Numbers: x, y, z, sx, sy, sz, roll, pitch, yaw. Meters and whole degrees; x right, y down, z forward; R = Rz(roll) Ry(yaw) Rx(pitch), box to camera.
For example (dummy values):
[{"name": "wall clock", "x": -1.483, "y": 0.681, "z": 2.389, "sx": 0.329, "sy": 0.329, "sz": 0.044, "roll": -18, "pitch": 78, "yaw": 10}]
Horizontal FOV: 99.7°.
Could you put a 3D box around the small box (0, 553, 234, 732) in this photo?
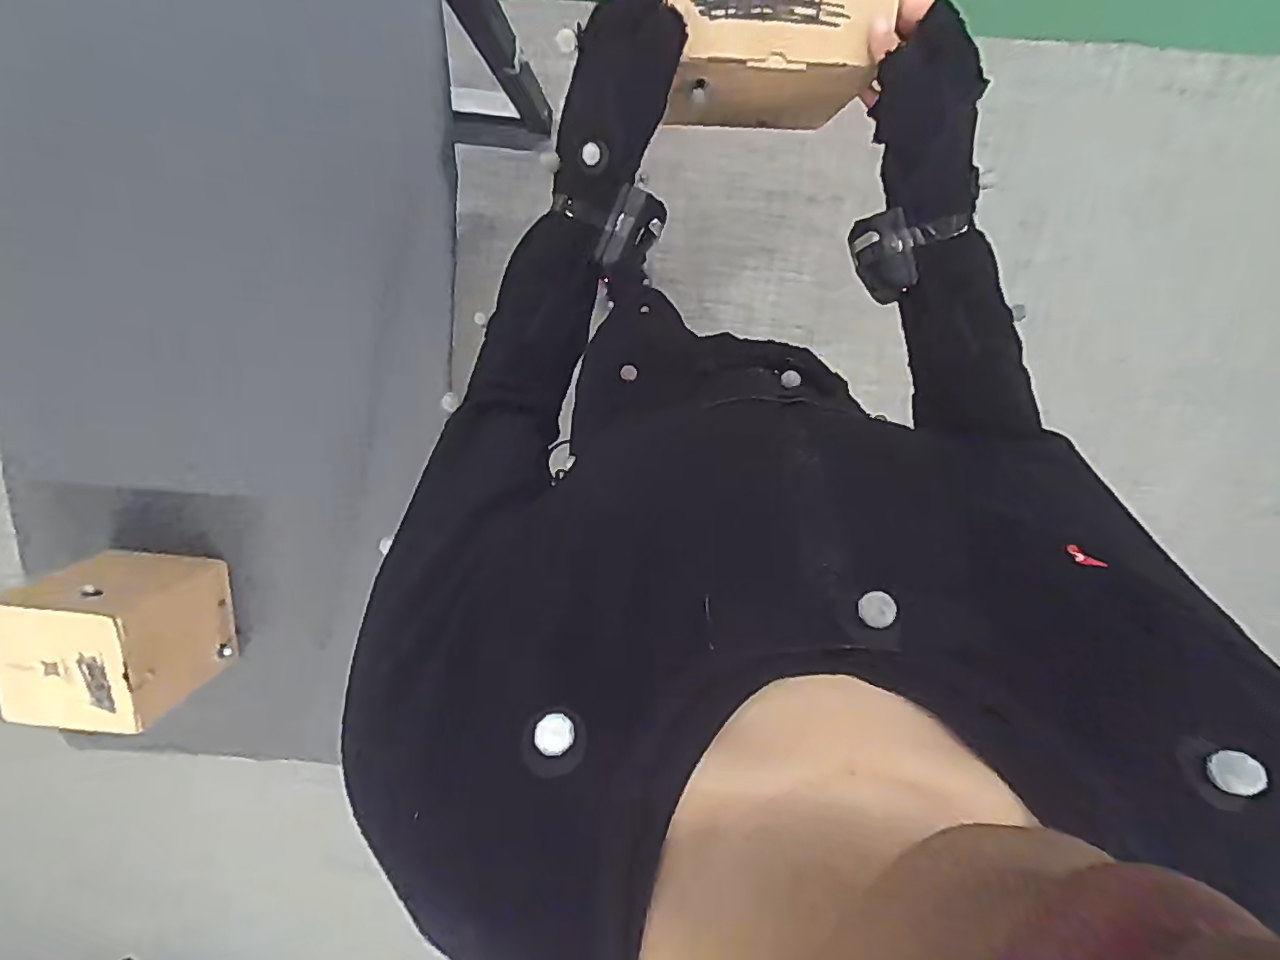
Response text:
[{"name": "small box", "x": -0.691, "y": 0.209, "z": 0.732, "sx": 0.179, "sy": 0.176, "sz": 0.168, "roll": 5, "pitch": 104, "yaw": 2}]
